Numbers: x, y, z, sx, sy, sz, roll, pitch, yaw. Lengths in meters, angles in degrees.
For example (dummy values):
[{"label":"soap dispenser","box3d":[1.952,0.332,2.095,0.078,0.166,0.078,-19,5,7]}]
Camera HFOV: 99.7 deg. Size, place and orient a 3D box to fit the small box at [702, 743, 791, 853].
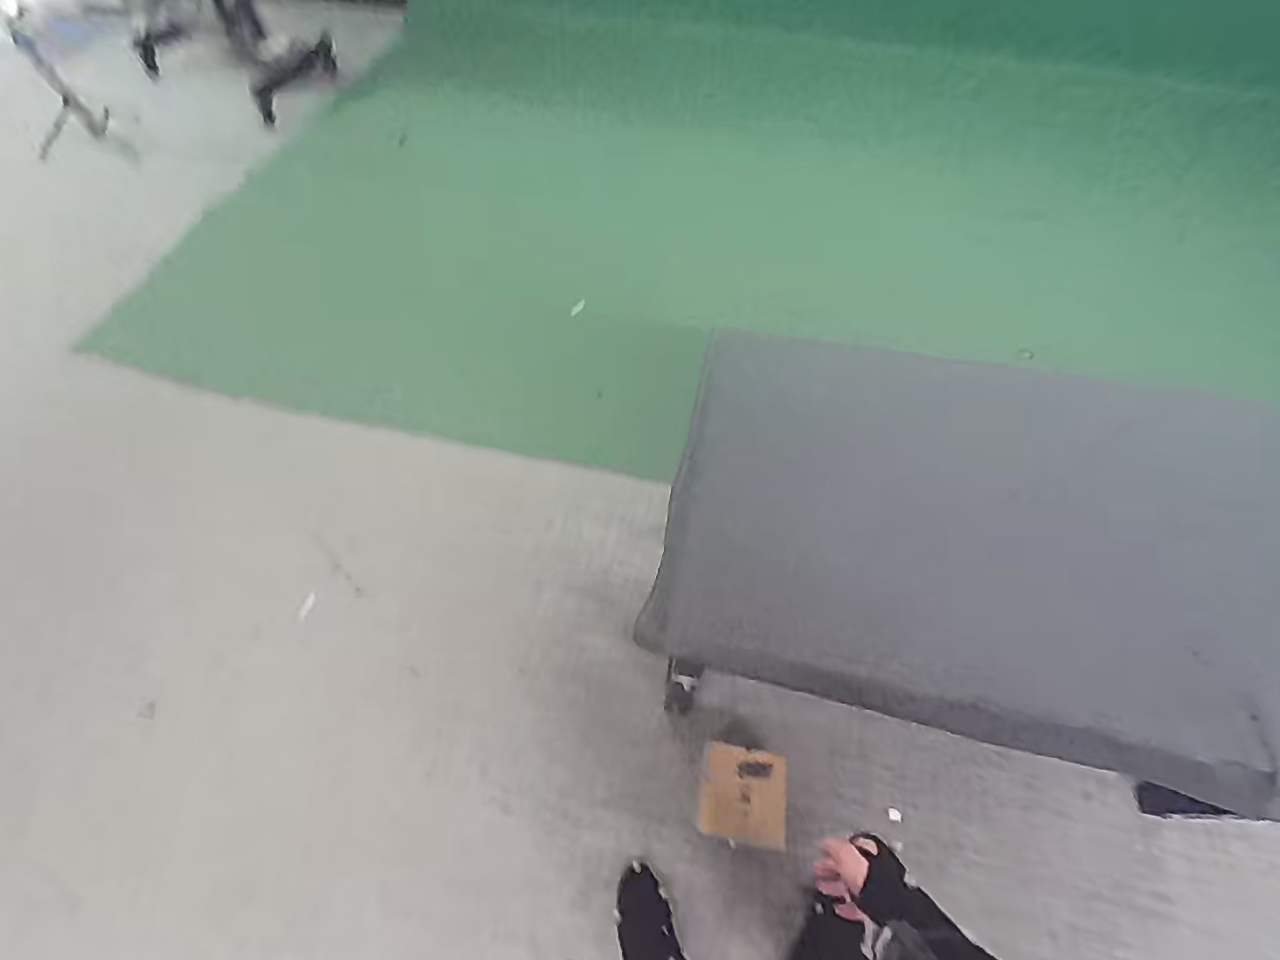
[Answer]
[{"label":"small box","box3d":[0.231,0.698,1.194,0.168,0.176,0.179,8,61,6]}]
